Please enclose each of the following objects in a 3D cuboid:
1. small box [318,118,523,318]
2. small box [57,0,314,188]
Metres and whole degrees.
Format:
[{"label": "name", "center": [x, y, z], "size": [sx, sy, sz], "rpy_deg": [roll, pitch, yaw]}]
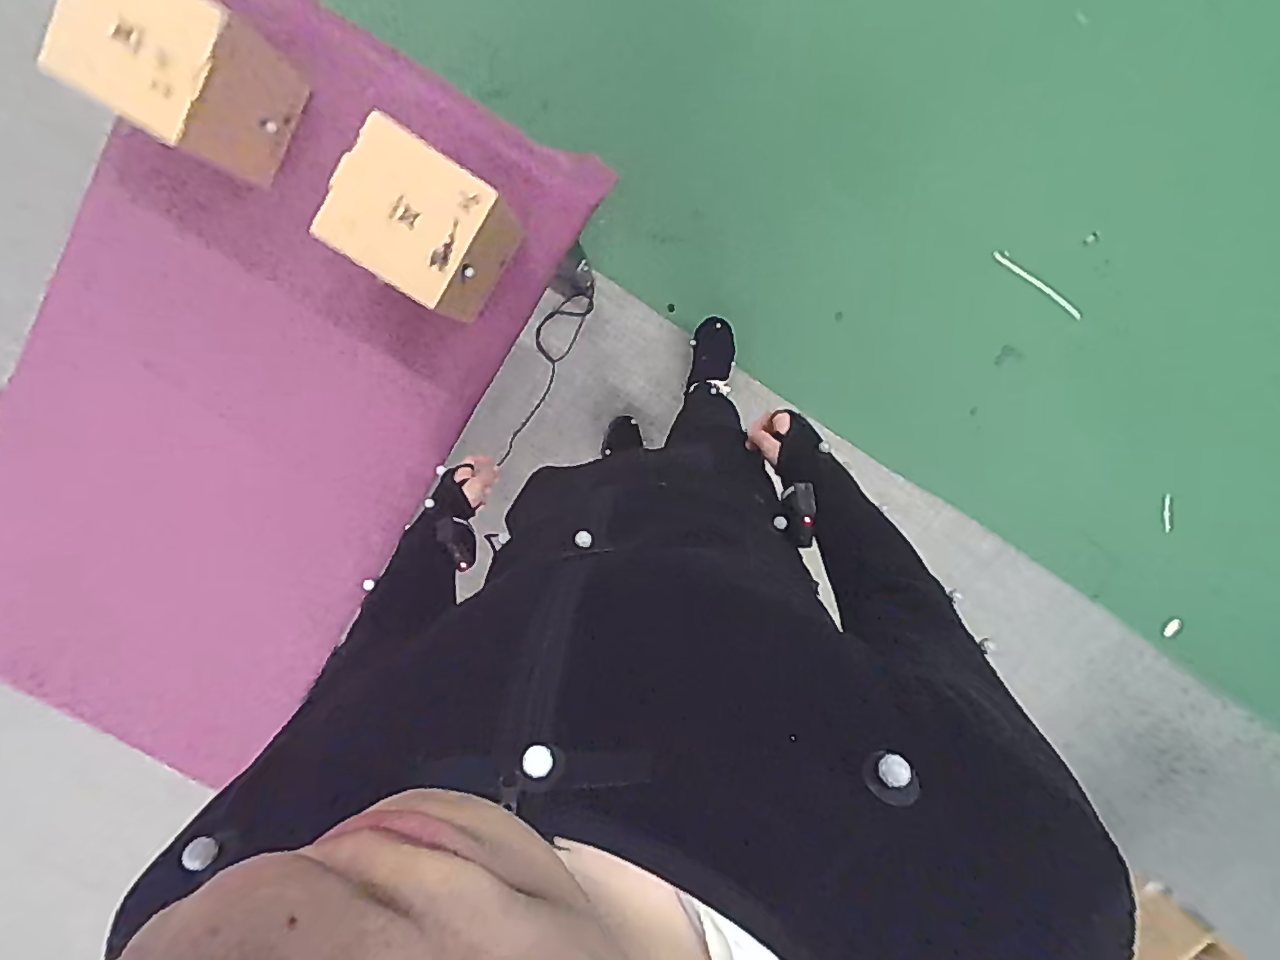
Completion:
[{"label": "small box", "center": [-0.292, -0.344, 0.755], "size": [0.179, 0.176, 0.168], "rpy_deg": [33, 100, -5]}, {"label": "small box", "center": [-0.593, -0.531, 0.727], "size": [0.179, 0.176, 0.168], "rpy_deg": [30, 101, -5]}]
